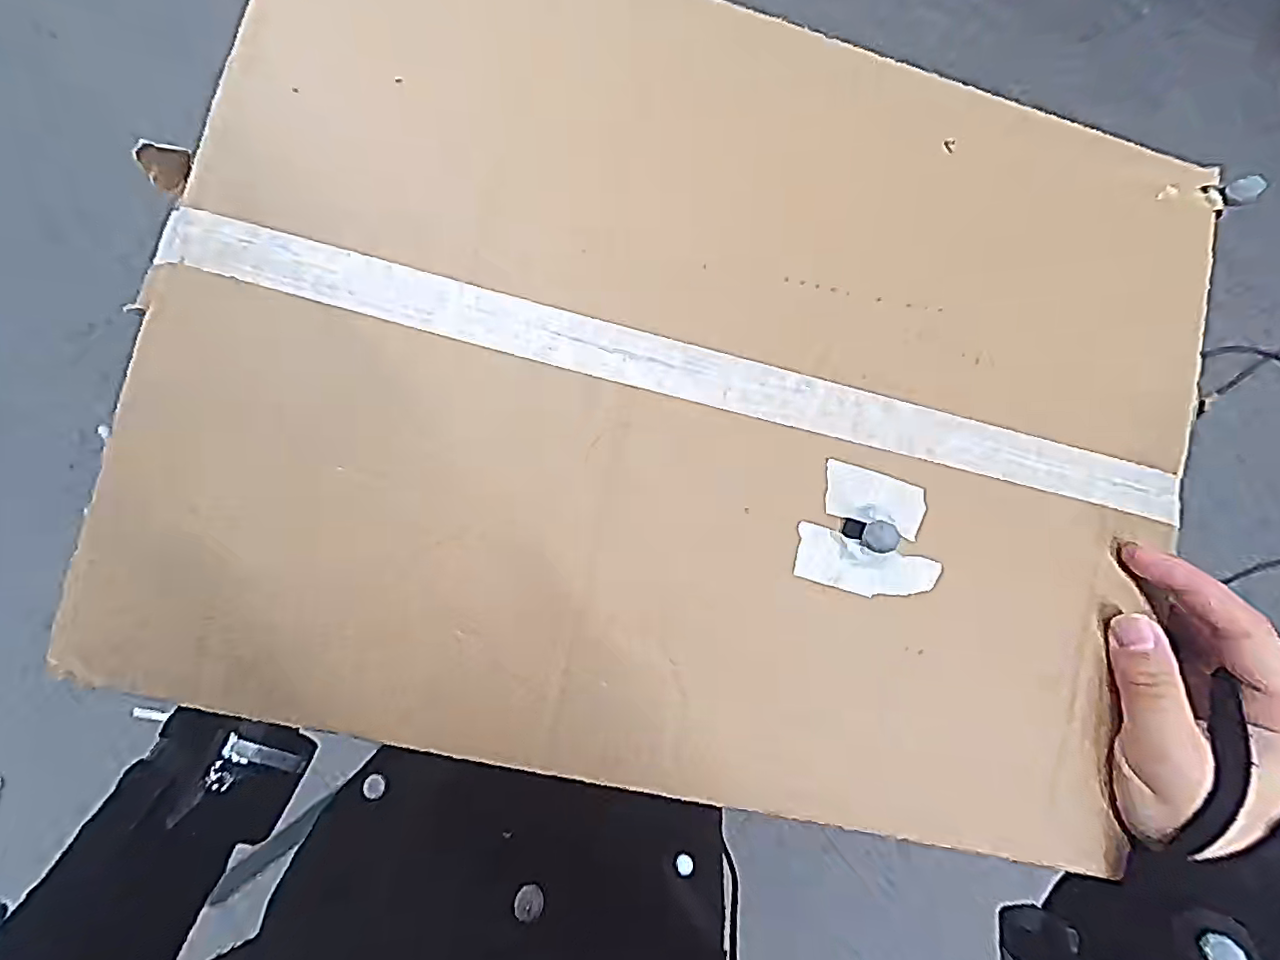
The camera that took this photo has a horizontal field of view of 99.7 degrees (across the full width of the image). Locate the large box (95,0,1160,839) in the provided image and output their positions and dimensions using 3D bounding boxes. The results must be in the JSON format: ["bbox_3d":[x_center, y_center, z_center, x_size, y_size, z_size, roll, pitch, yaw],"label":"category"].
[{"bbox_3d":[0.009,-0.023,0.372,0.408,0.320,0.320,13,85,-7],"label":"large box"}]
